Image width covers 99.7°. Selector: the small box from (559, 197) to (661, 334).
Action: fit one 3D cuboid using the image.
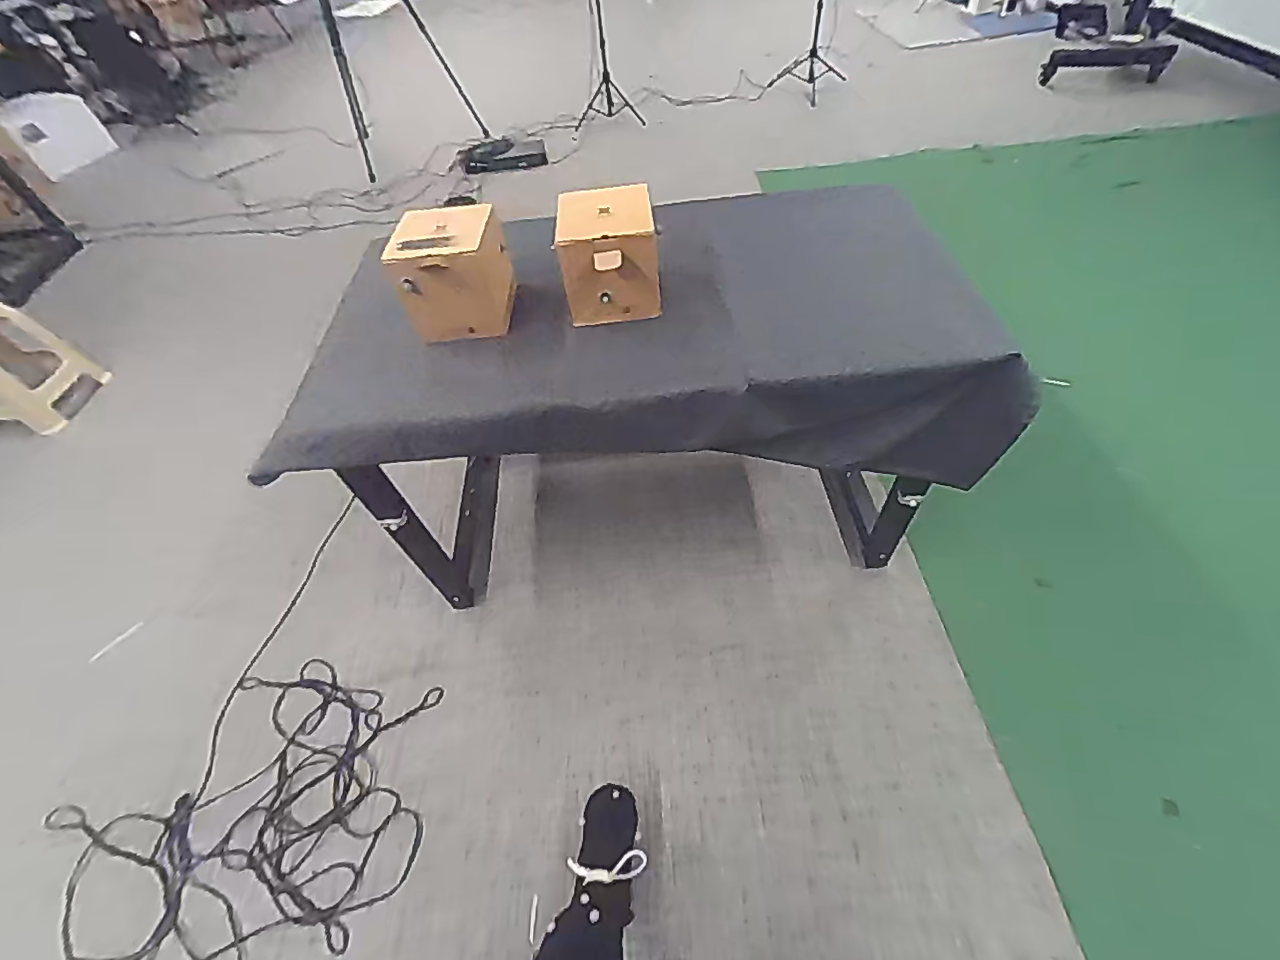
[{"bbox_3d":[-0.052,-0.394,0.999,0.168,0.176,0.179,-6,52,1],"label":"small box"}]
